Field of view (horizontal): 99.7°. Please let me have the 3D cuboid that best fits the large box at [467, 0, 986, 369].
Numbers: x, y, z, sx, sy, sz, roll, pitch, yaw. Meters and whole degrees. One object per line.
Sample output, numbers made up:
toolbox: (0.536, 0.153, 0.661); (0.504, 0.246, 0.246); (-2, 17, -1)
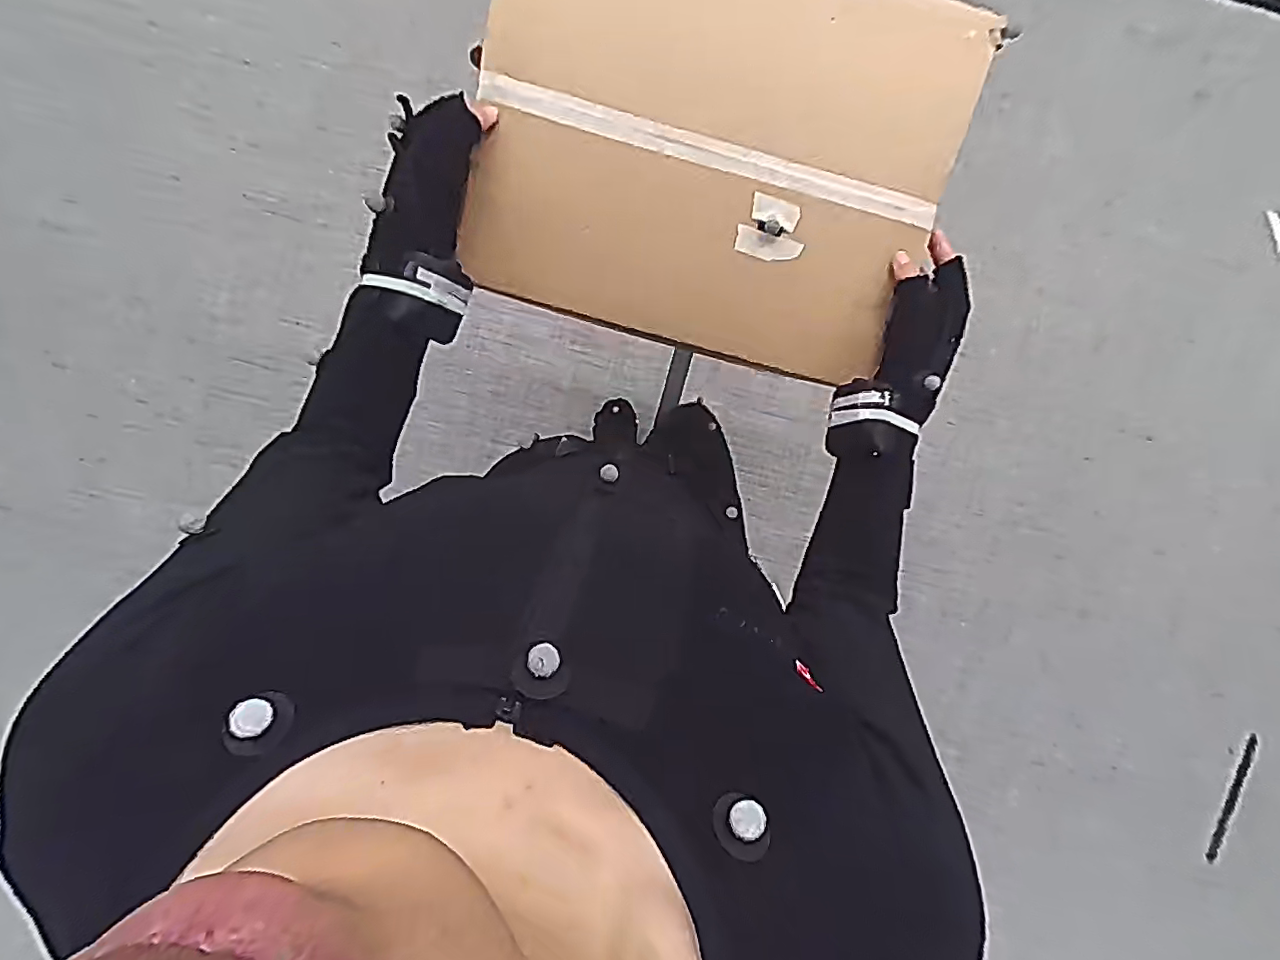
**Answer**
large box: (0.063, -0.333, 0.622); (0.408, 0.320, 0.320); (15, 105, -4)
